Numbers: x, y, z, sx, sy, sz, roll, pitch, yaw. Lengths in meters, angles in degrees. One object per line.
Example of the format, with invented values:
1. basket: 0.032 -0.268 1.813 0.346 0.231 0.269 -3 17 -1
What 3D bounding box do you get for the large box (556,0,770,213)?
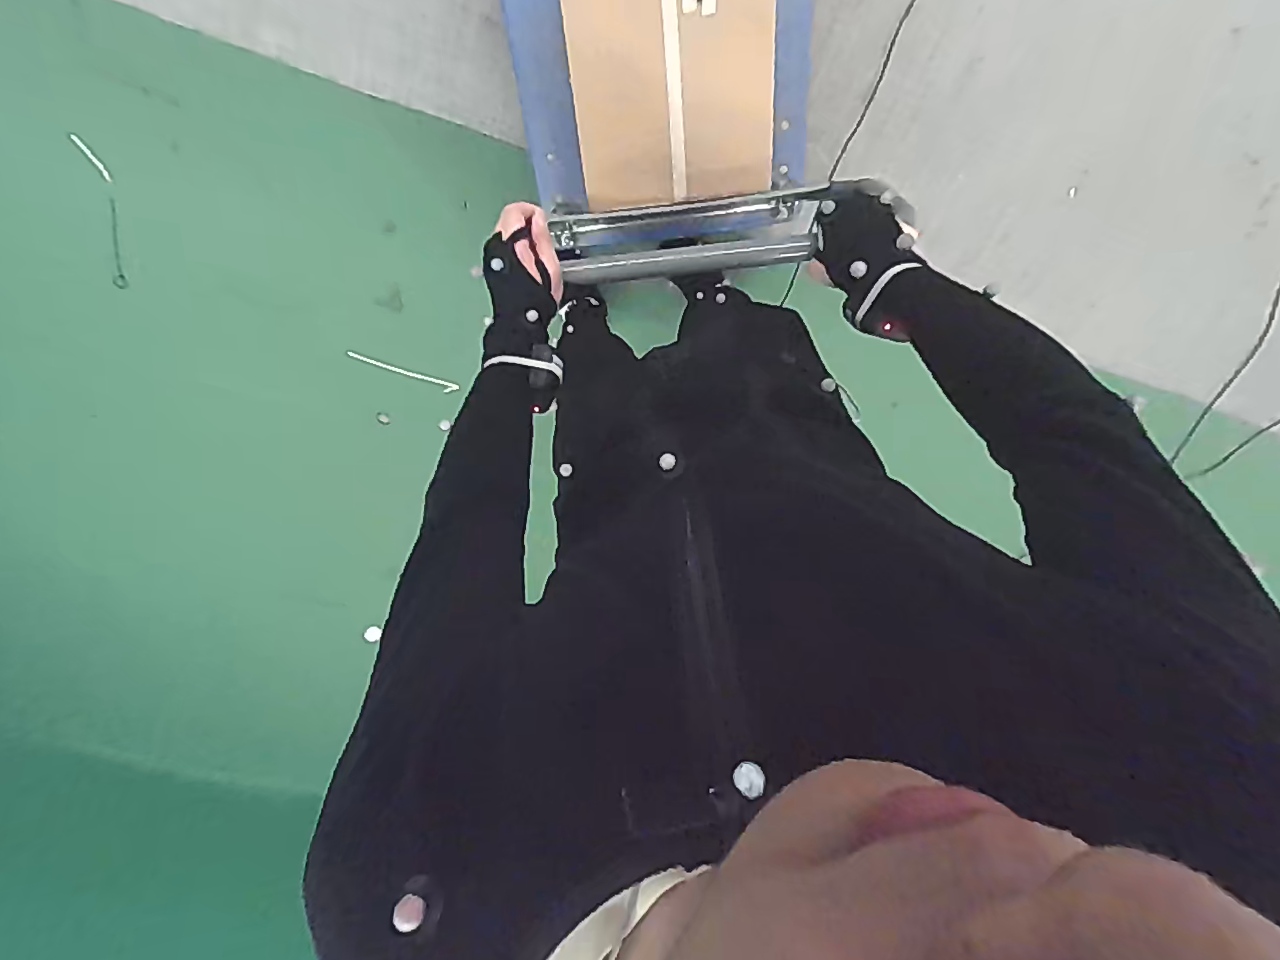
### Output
1. large box: 0.043 -0.715 0.944 0.320 0.320 0.408 -5 121 3
